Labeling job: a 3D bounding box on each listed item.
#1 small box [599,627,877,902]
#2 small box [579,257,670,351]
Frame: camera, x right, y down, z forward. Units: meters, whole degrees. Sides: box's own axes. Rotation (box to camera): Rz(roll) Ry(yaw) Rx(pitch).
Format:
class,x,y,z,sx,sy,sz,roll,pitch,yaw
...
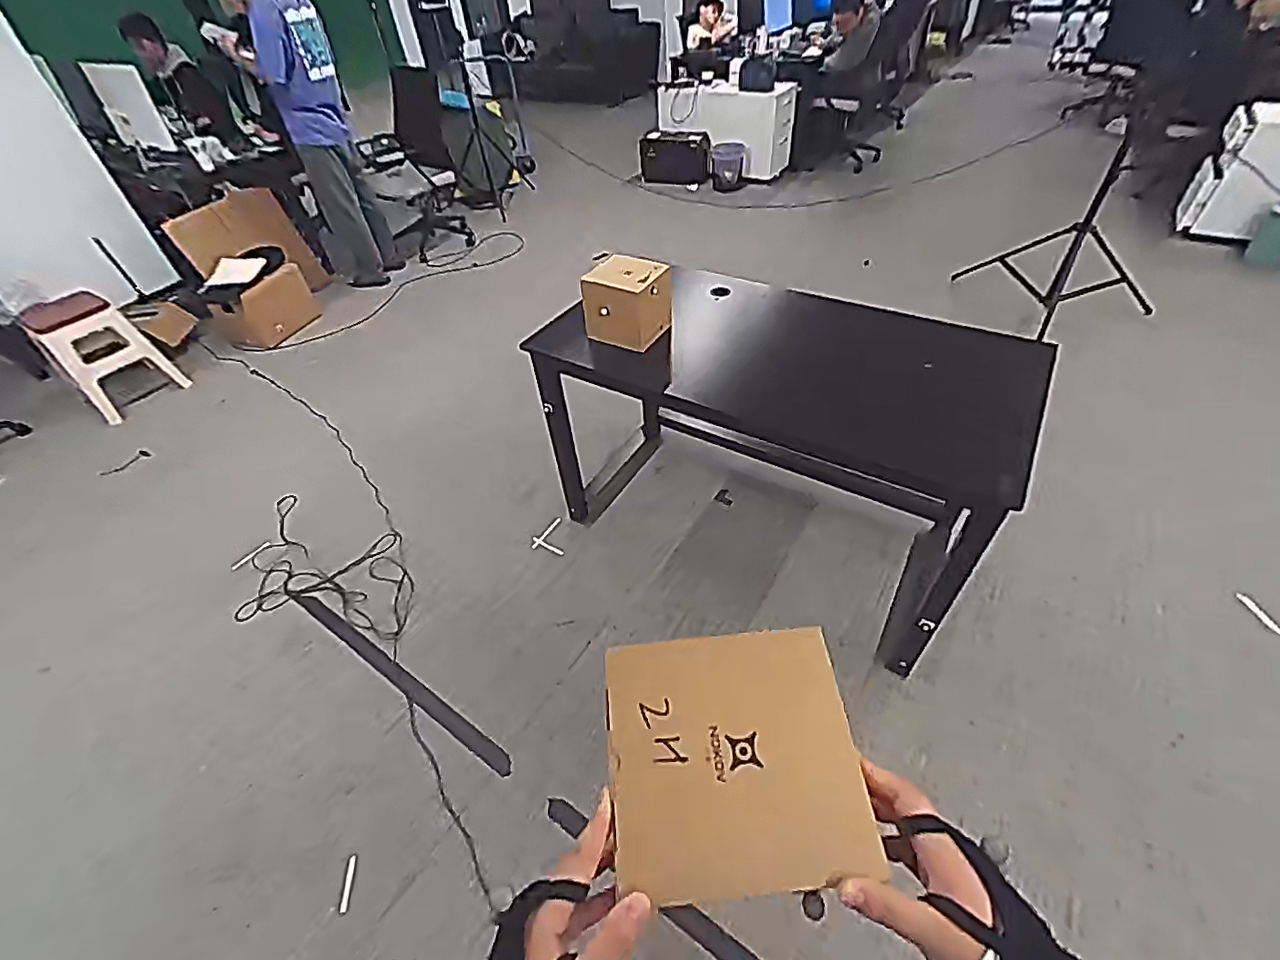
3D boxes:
class,x,y,z,sx,sy,sz,roll,pitch,yaw
small box,0.062,0.235,0.451,0.179,0.176,0.168,-6,55,-1
small box,-0.036,-0.461,1.421,0.179,0.176,0.168,20,51,24
